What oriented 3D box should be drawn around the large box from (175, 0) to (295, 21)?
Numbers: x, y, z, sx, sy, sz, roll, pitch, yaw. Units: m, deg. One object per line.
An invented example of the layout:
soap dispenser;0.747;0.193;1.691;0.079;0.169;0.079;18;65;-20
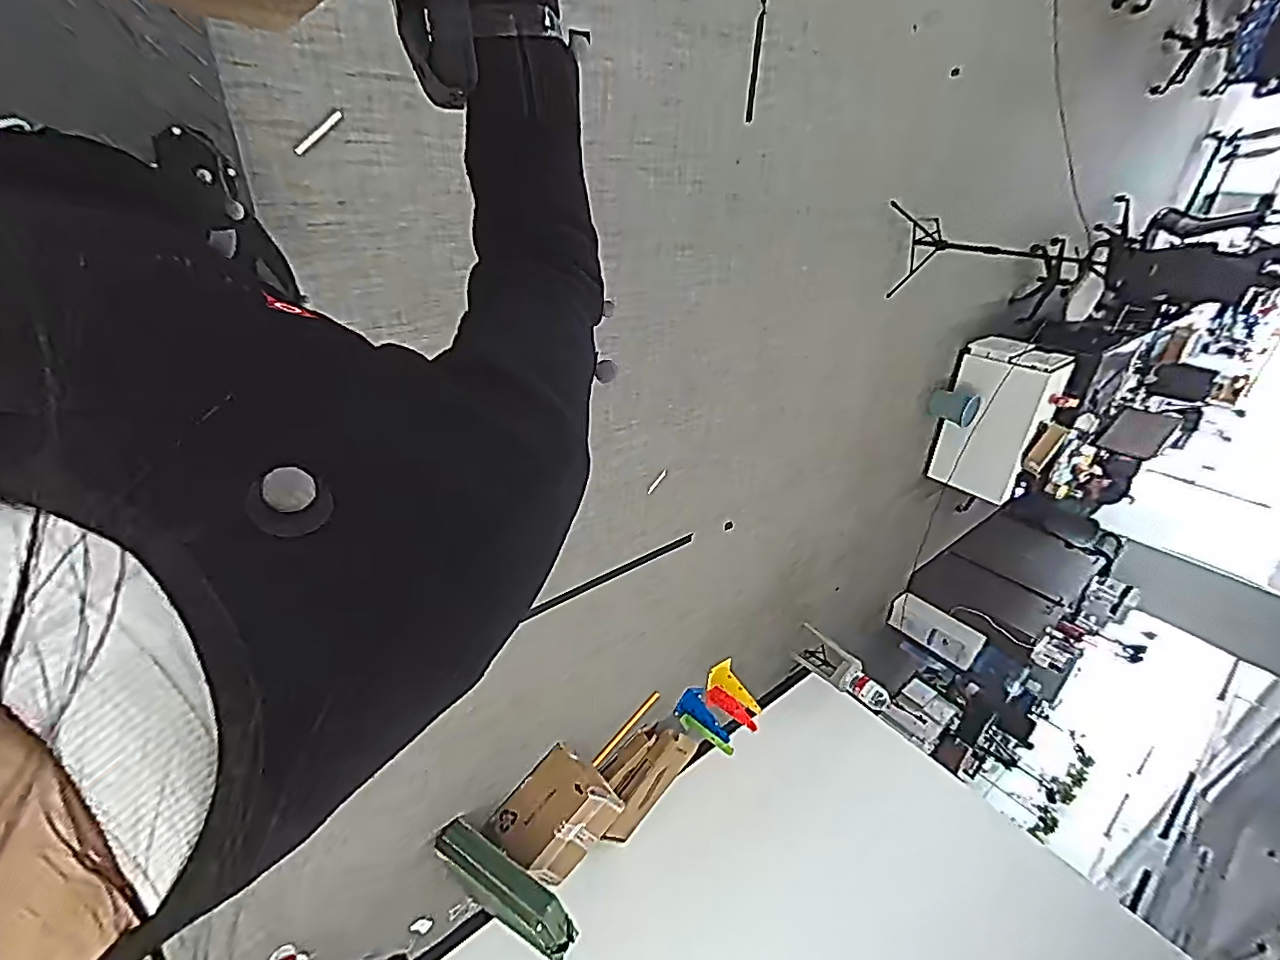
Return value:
large box;-0.357;-0.418;0.180;0.408;0.320;0.320;-16;126;-37
